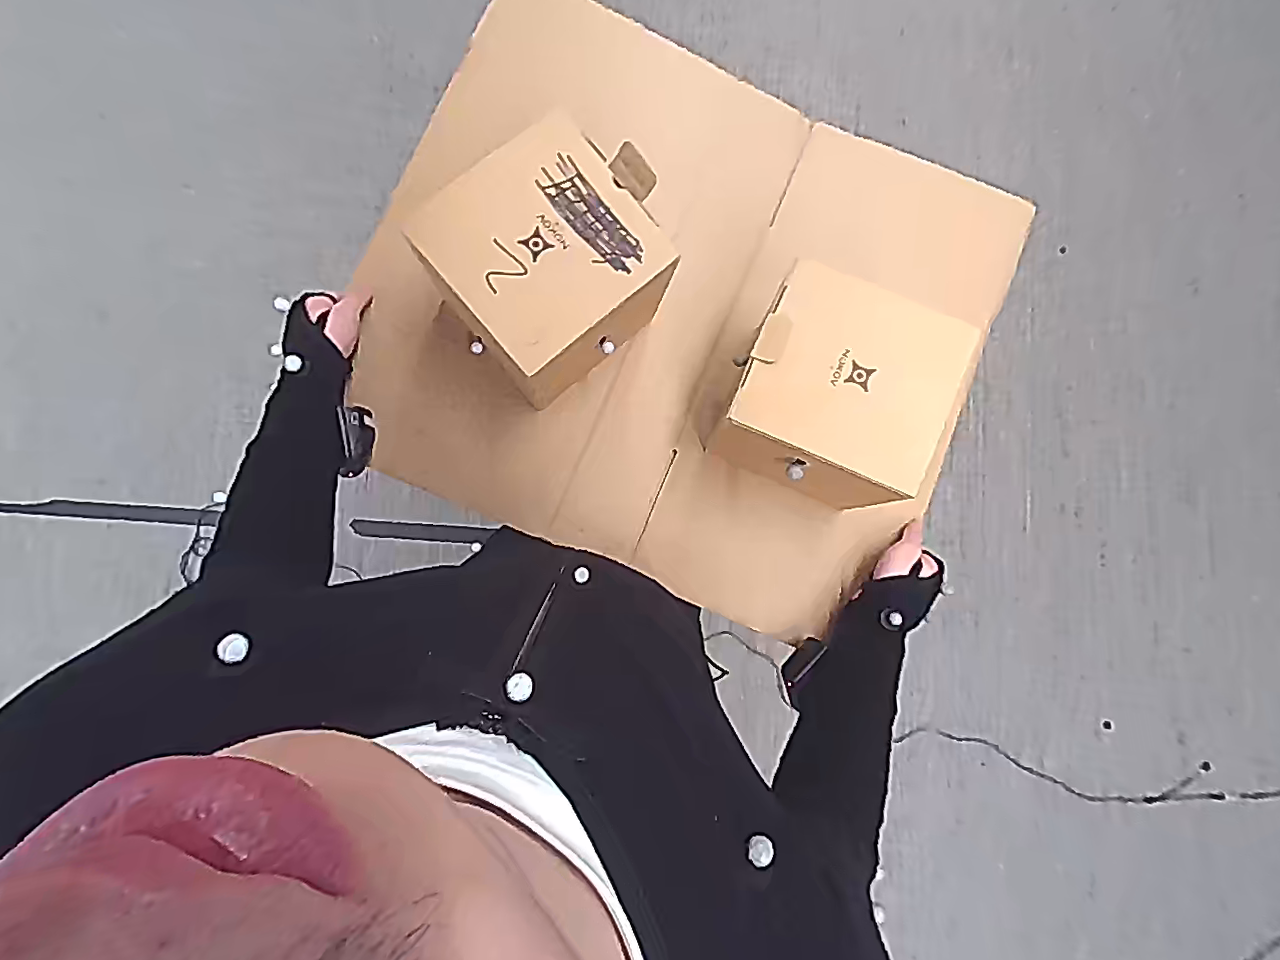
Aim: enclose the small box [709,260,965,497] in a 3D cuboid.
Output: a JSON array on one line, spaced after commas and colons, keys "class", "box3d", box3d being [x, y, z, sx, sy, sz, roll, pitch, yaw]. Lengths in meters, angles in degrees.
[{"class": "small box", "box3d": [0.187, -0.089, 0.566, 0.179, 0.176, 0.168, 23, 84, 4]}]
